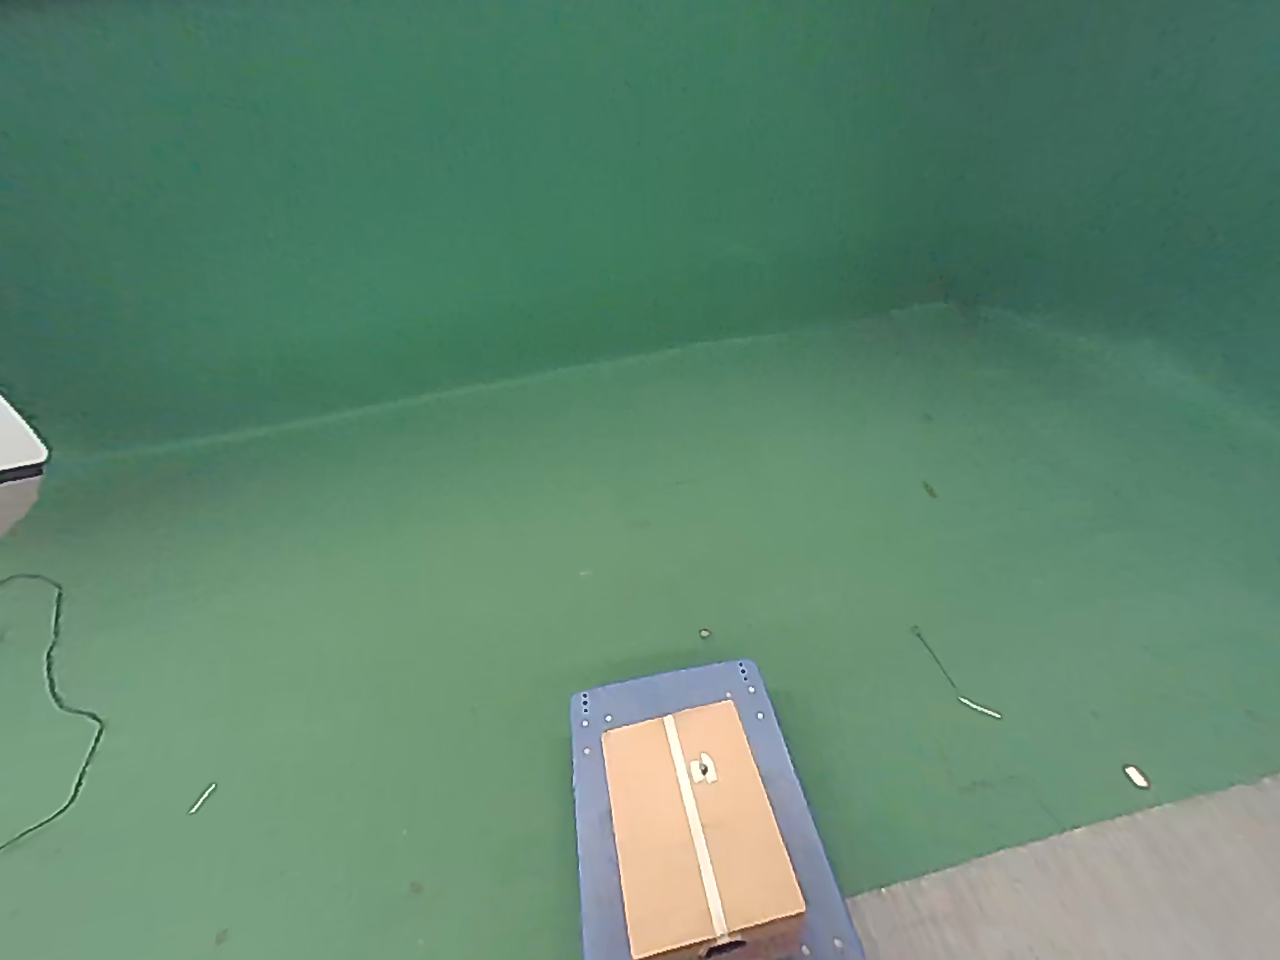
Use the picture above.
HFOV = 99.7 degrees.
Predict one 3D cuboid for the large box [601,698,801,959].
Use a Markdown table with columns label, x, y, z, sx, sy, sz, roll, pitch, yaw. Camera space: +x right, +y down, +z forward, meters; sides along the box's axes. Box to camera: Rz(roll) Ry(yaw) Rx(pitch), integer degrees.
| label | x | y | z | sx | sy | sz | roll | pitch | yaw |
| --- | --- | --- | --- | --- | --- | --- | --- | --- | --- |
| large box | 0.119 | 0.772 | 1.182 | 0.320 | 0.320 | 0.408 | -12 | 39 | -5 |
